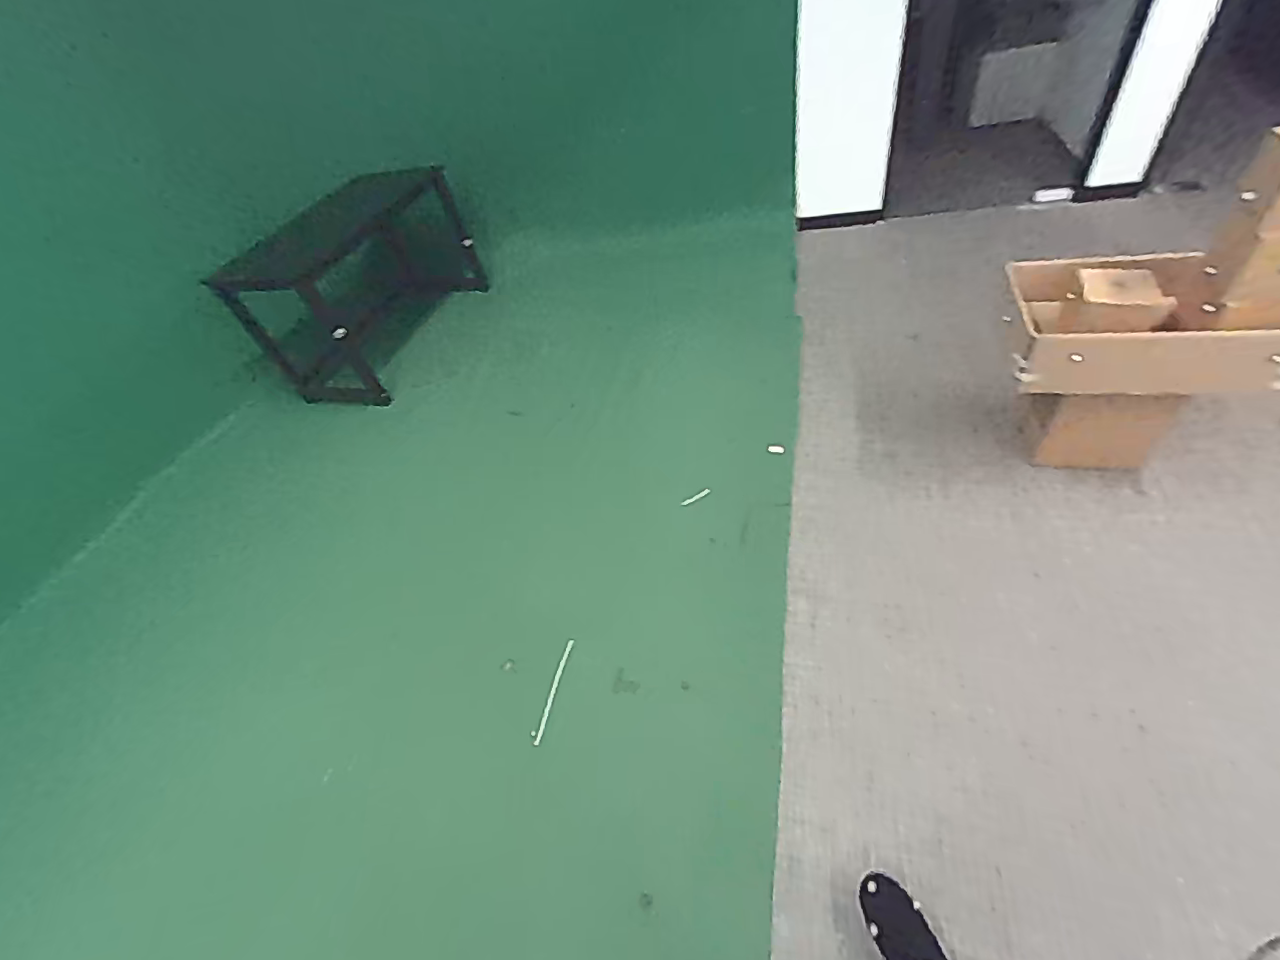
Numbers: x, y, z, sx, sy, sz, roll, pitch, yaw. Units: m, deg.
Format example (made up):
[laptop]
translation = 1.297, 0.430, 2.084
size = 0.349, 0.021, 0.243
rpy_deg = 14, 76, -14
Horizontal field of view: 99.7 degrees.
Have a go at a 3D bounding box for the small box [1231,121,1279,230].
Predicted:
[small box]
translation = 1.467, -0.665, 1.173
size = 0.179, 0.176, 0.168
rpy_deg = 5, 50, 20
